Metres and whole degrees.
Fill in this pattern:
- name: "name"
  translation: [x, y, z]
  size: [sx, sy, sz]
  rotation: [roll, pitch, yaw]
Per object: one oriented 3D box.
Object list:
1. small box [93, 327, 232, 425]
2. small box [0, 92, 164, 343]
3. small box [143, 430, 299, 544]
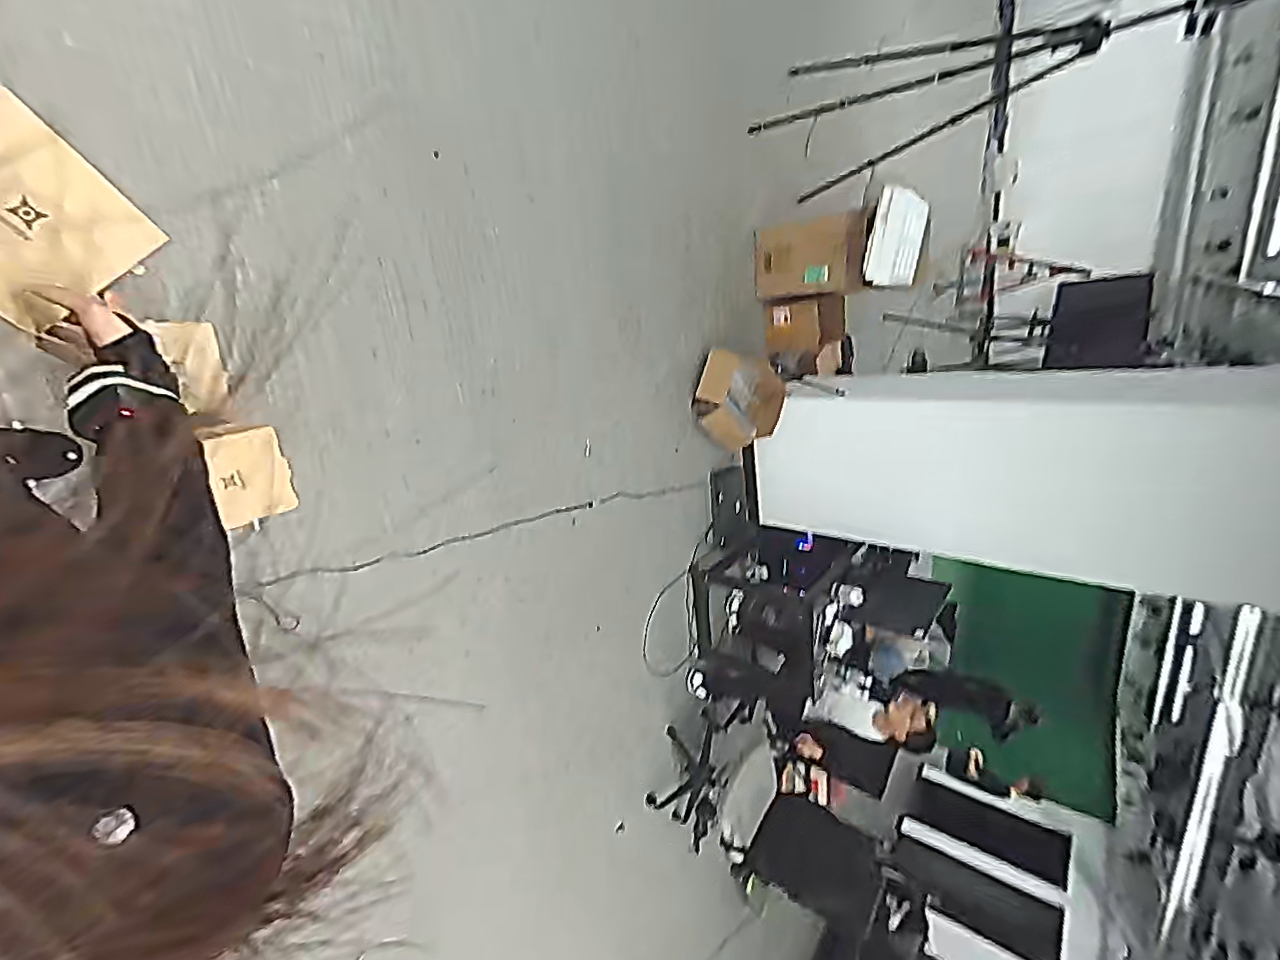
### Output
- name: "small box"
  translation: [-0.945, -0.208, 1.072]
  size: [0.168, 0.176, 0.179]
  rotation: [-18, 108, -47]
- name: "small box"
  translation: [-0.681, -0.275, 0.576]
  size: [0.179, 0.176, 0.168]
  rotation: [-56, 143, -20]
- name: "small box"
  translation: [-0.794, 0.003, 1.029]
  size: [0.179, 0.176, 0.168]
  rotation: [-26, 114, -46]
